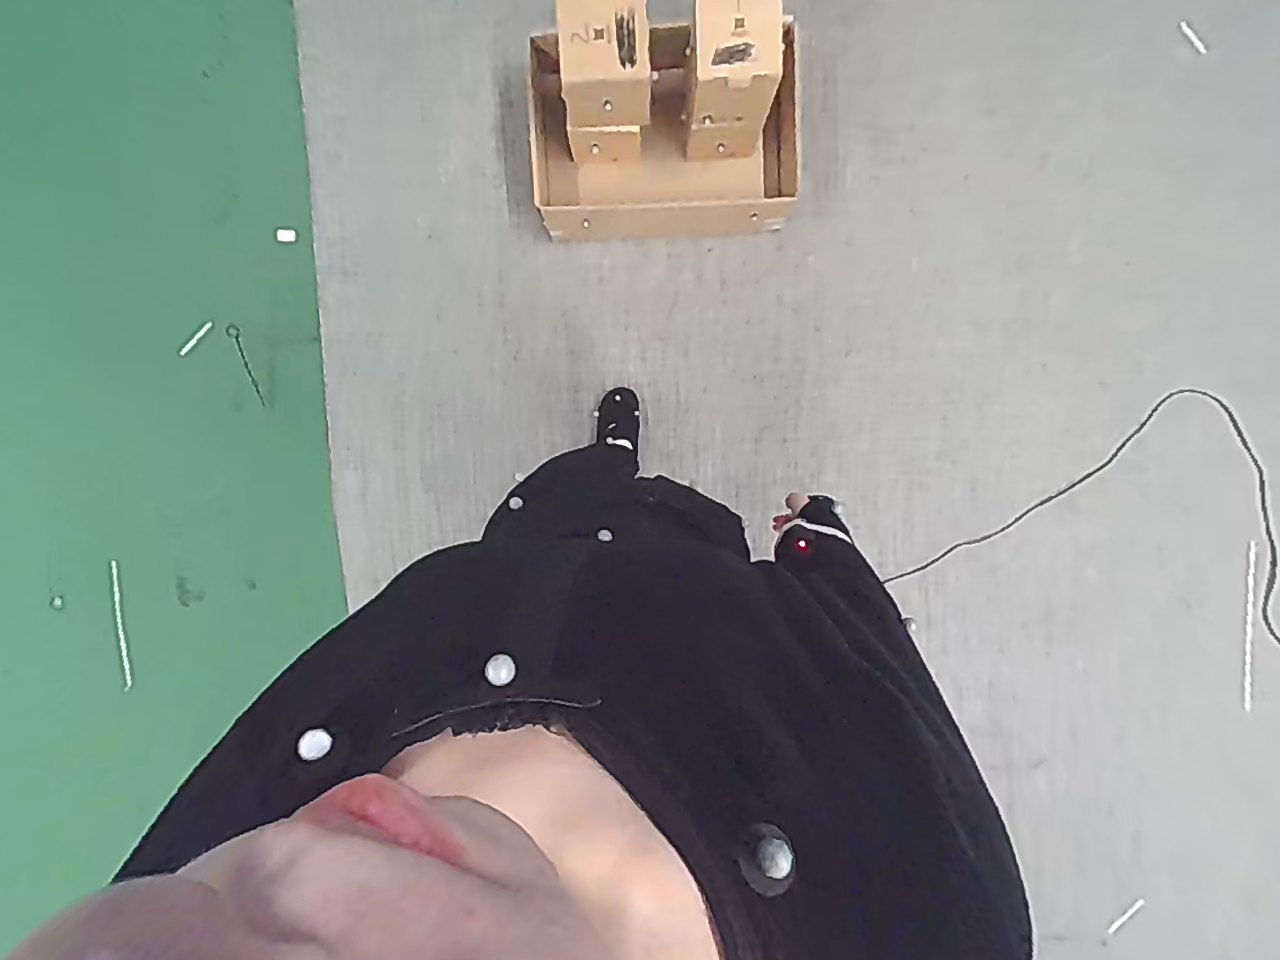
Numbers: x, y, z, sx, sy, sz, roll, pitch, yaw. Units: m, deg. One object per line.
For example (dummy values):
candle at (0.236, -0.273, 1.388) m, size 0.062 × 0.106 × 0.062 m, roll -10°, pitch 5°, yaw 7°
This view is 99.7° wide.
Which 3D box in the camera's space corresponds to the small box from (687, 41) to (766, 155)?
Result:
small box at (0.198, -0.886, 1.267) m, size 0.168 × 0.176 × 0.179 m, roll -2°, pitch 97°, yaw 1°

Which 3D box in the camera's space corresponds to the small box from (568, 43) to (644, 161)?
small box at (-0.076, -0.878, 1.273) m, size 0.168 × 0.176 × 0.179 m, roll 1°, pitch 96°, yaw 0°

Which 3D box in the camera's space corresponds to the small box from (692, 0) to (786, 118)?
small box at (0.196, -0.869, 1.103) m, size 0.168 × 0.176 × 0.179 m, roll -1°, pitch 96°, yaw 1°
